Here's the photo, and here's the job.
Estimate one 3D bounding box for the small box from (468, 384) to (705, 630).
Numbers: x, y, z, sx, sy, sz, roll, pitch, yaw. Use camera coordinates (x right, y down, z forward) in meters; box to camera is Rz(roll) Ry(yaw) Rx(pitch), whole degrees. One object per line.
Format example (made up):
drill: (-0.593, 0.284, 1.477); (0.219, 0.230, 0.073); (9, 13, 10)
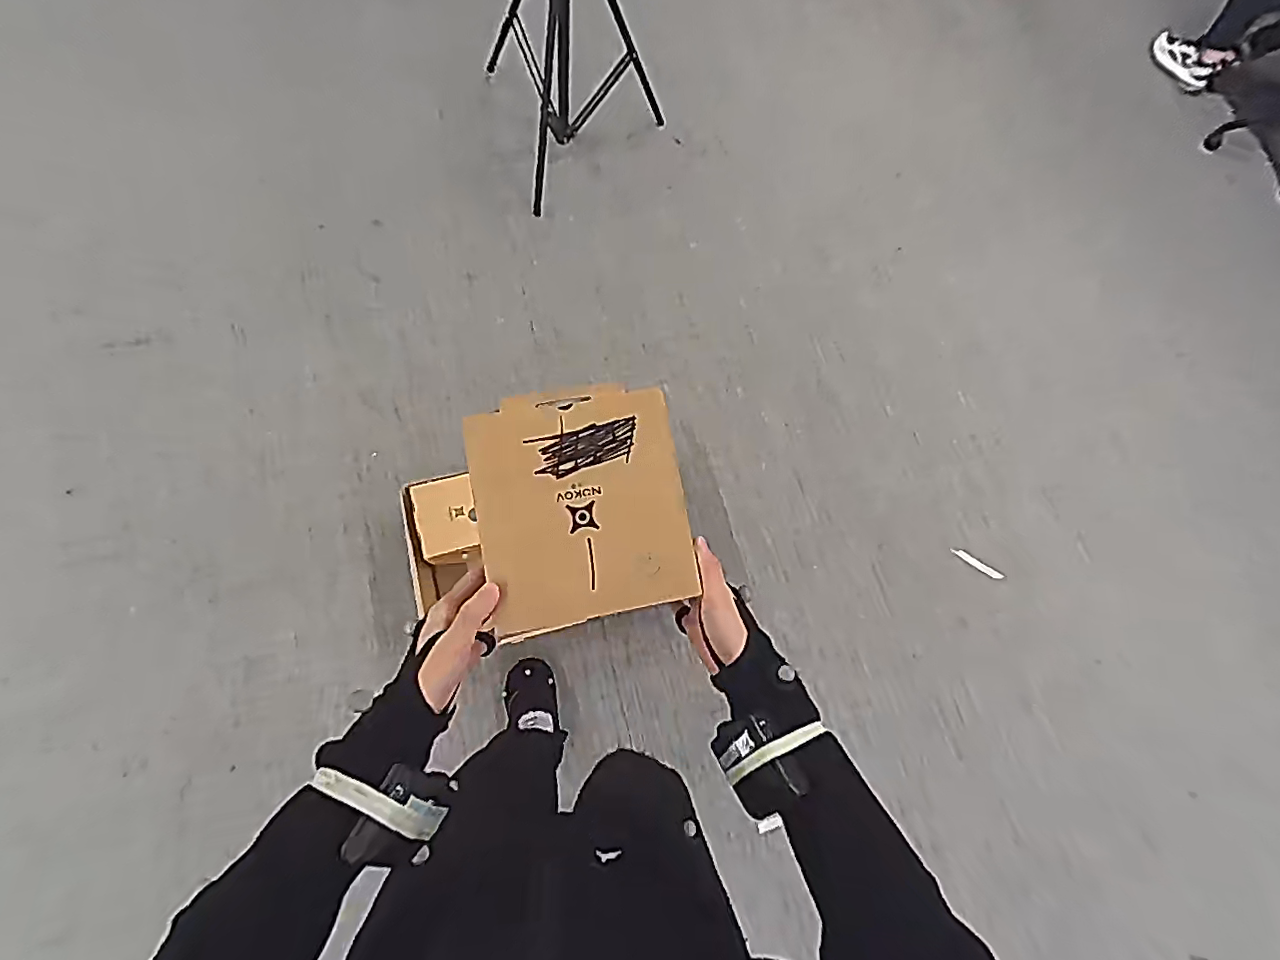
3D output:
small box: (-0.052, 0.028, 0.507); (0.168, 0.176, 0.179); (-11, 84, -7)
